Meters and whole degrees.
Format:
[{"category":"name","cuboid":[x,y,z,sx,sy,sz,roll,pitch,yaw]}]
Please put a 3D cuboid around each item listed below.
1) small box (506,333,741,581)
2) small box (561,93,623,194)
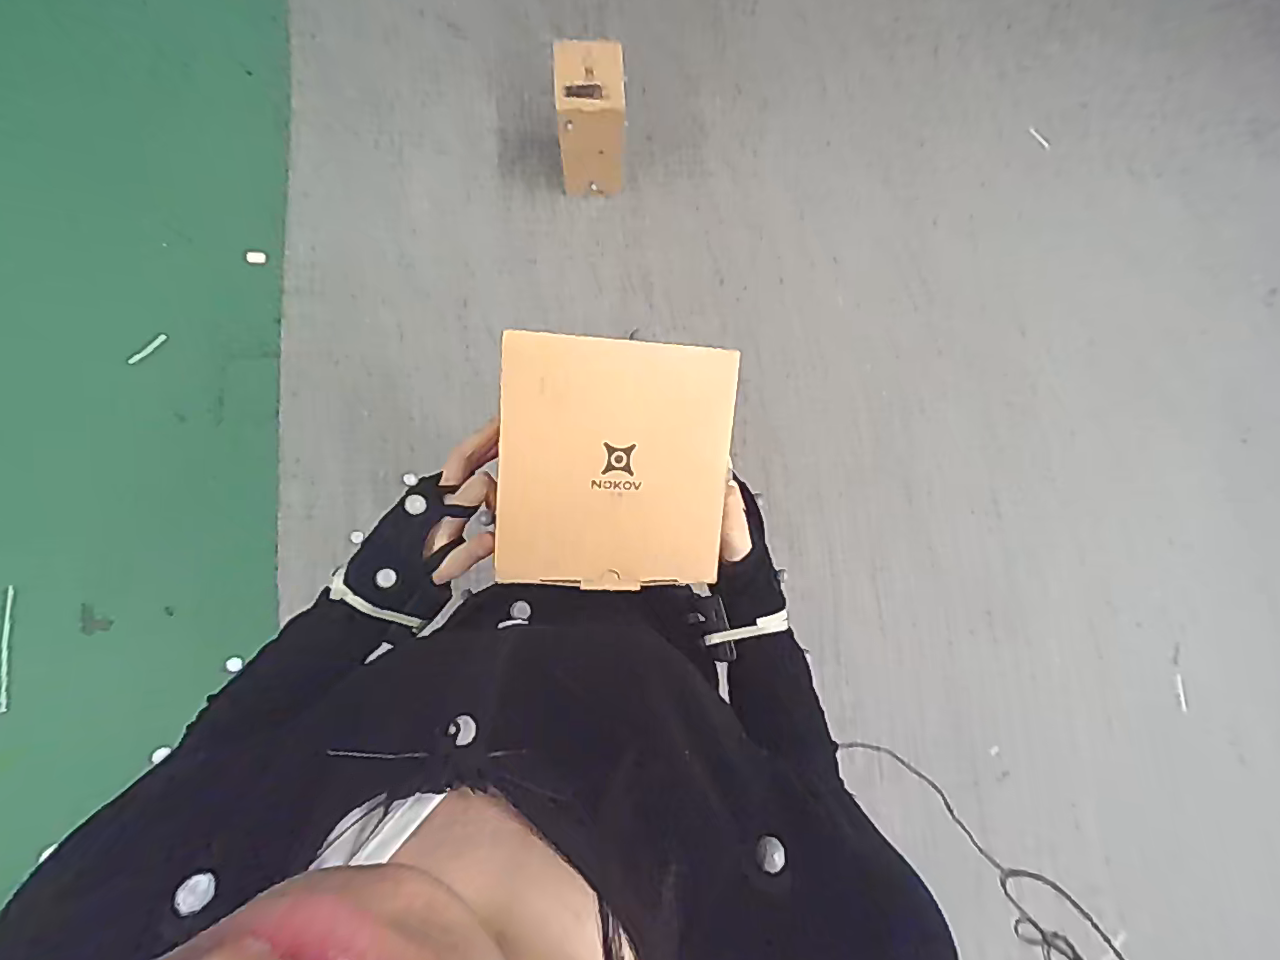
[{"category":"small box","cuboid":[-0.028,-0.025,0.466,0.168,0.176,0.179,2,102,-12]},{"category":"small box","cuboid":[-0.134,-0.930,1.505,0.168,0.176,0.179,-2,86,-4]}]
